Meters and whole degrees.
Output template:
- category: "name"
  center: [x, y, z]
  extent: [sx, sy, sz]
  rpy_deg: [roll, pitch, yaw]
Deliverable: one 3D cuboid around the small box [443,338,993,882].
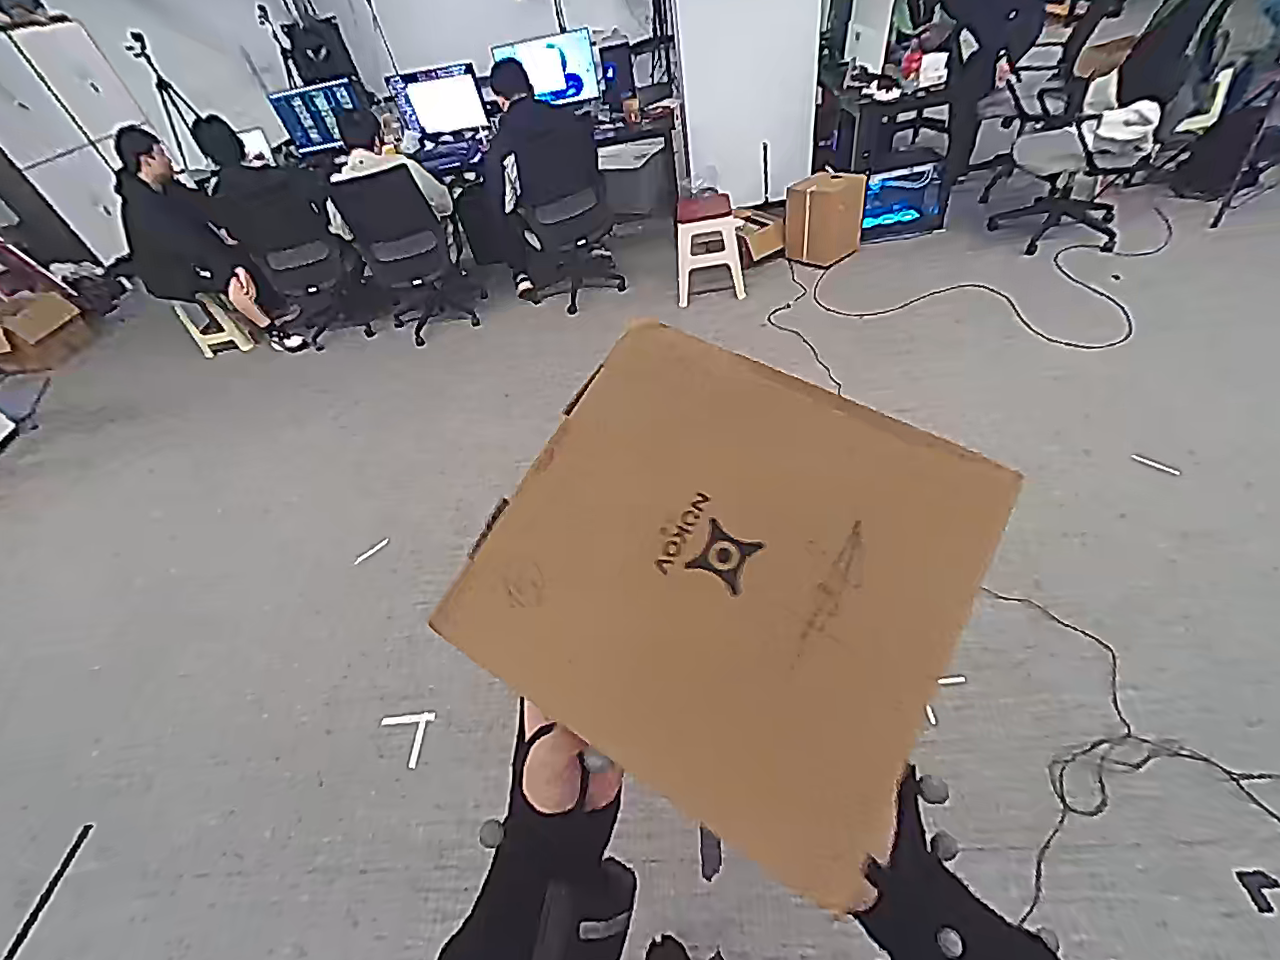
- category: "small box"
  center: [0.039, 0.060, 0.296]
  extent: [0.179, 0.176, 0.168]
  rpy_deg: [26, 76, 16]
